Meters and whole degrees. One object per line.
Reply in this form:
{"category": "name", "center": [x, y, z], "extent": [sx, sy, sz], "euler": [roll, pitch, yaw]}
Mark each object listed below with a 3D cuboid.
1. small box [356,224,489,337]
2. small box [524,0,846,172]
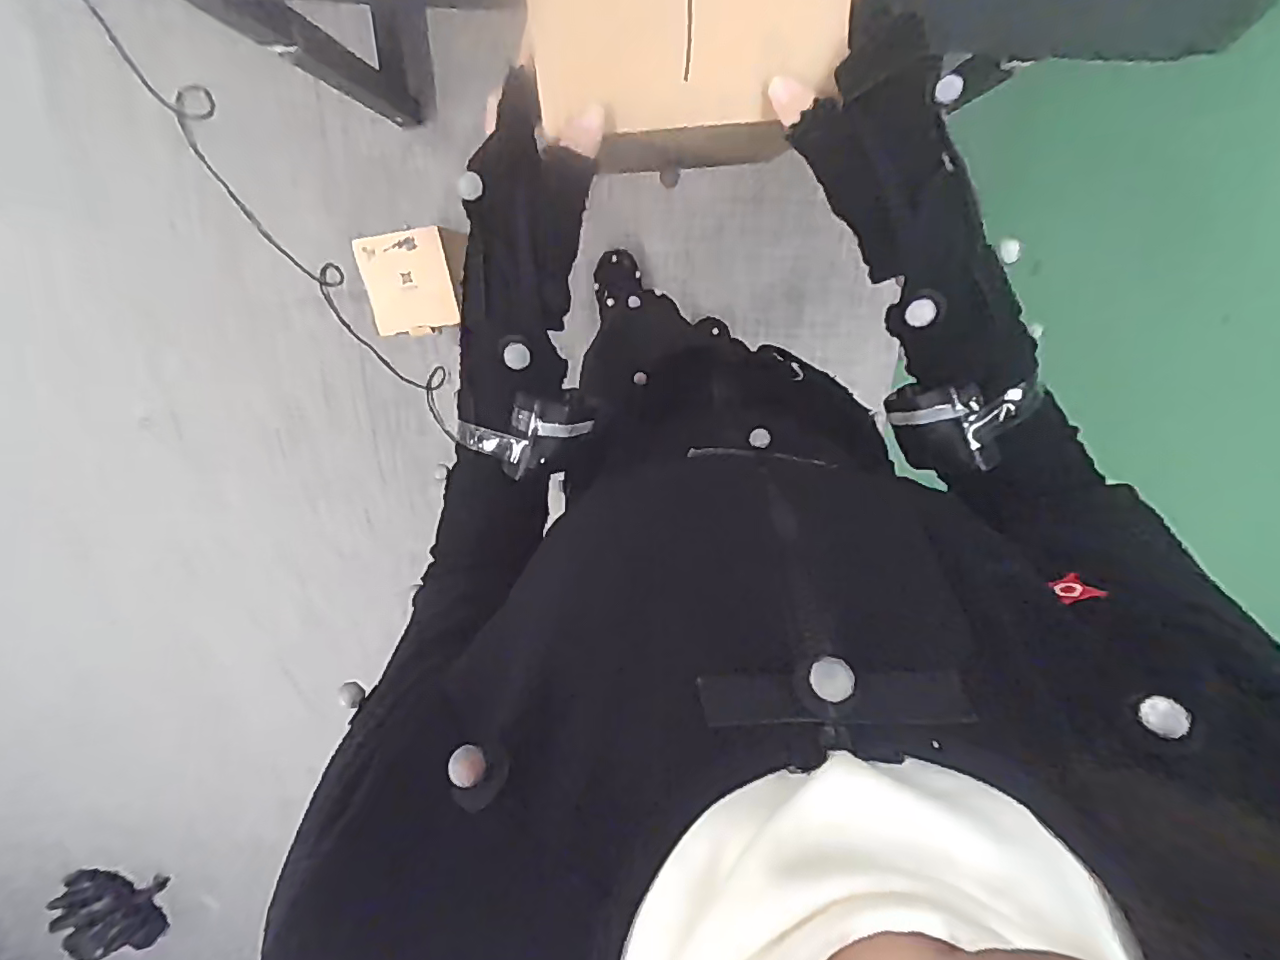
{"category": "small box", "center": [-0.421, -0.398, 1.084], "extent": [0.168, 0.176, 0.179], "euler": [-10, 109, 7]}
{"category": "small box", "center": [0.020, -0.306, 0.333], "extent": [0.168, 0.176, 0.179], "euler": [-4, 113, 2]}
